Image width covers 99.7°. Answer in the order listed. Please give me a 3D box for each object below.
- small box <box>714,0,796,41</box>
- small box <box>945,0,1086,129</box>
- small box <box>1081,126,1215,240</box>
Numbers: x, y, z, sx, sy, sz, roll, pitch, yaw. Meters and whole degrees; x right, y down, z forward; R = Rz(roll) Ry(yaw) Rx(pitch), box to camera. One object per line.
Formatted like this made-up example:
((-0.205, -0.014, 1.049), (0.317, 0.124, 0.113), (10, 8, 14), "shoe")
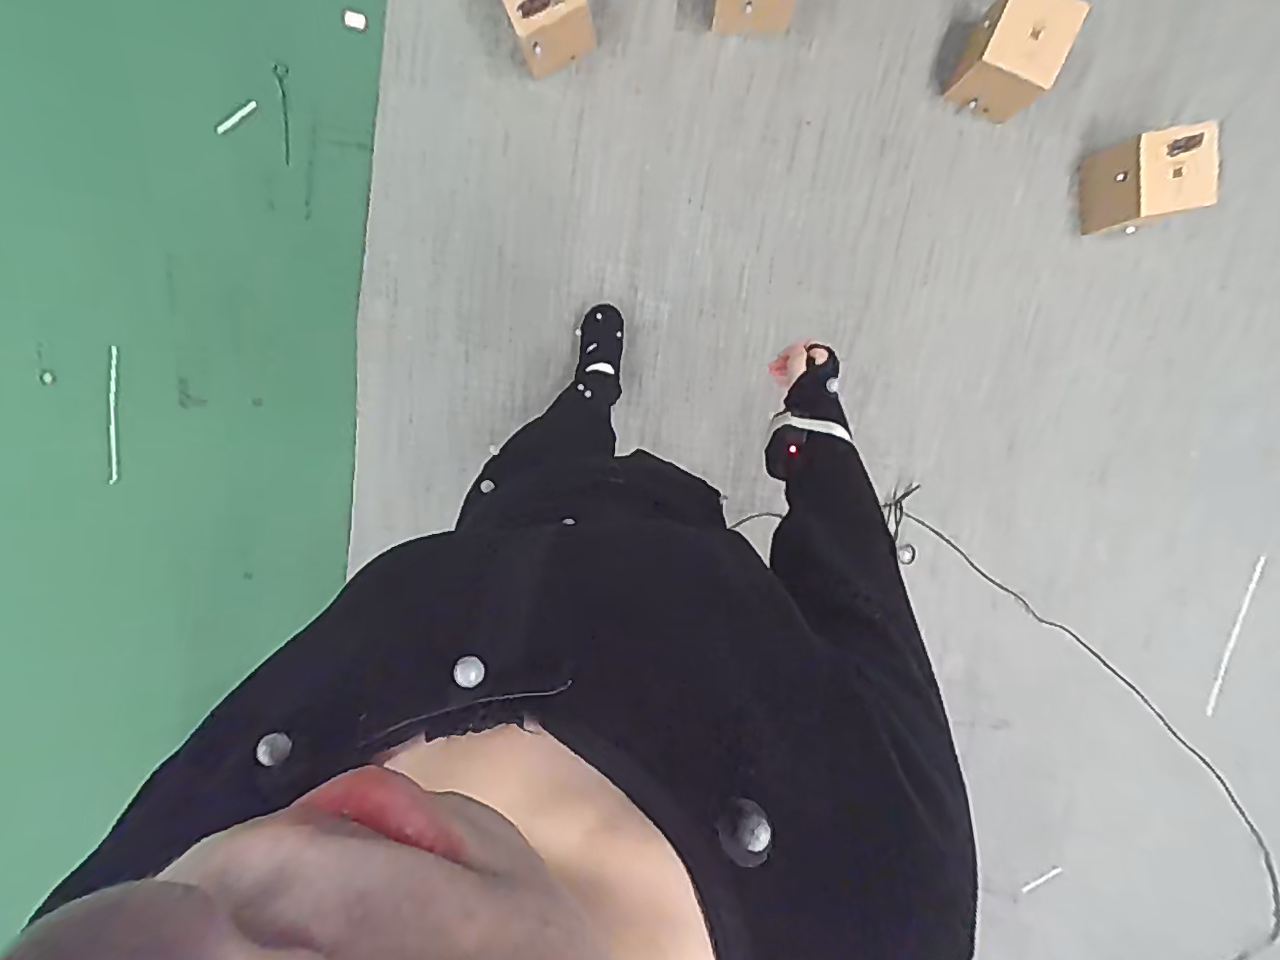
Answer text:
((0.261, -1.120, 1.203), (0.179, 0.176, 0.168), (3, 100, 1), "small box")
((0.836, -0.950, 1.226), (0.168, 0.176, 0.179), (22, 99, -3), "small box")
((1.176, -0.686, 1.265), (0.168, 0.176, 0.179), (-9, 100, 3), "small box")
